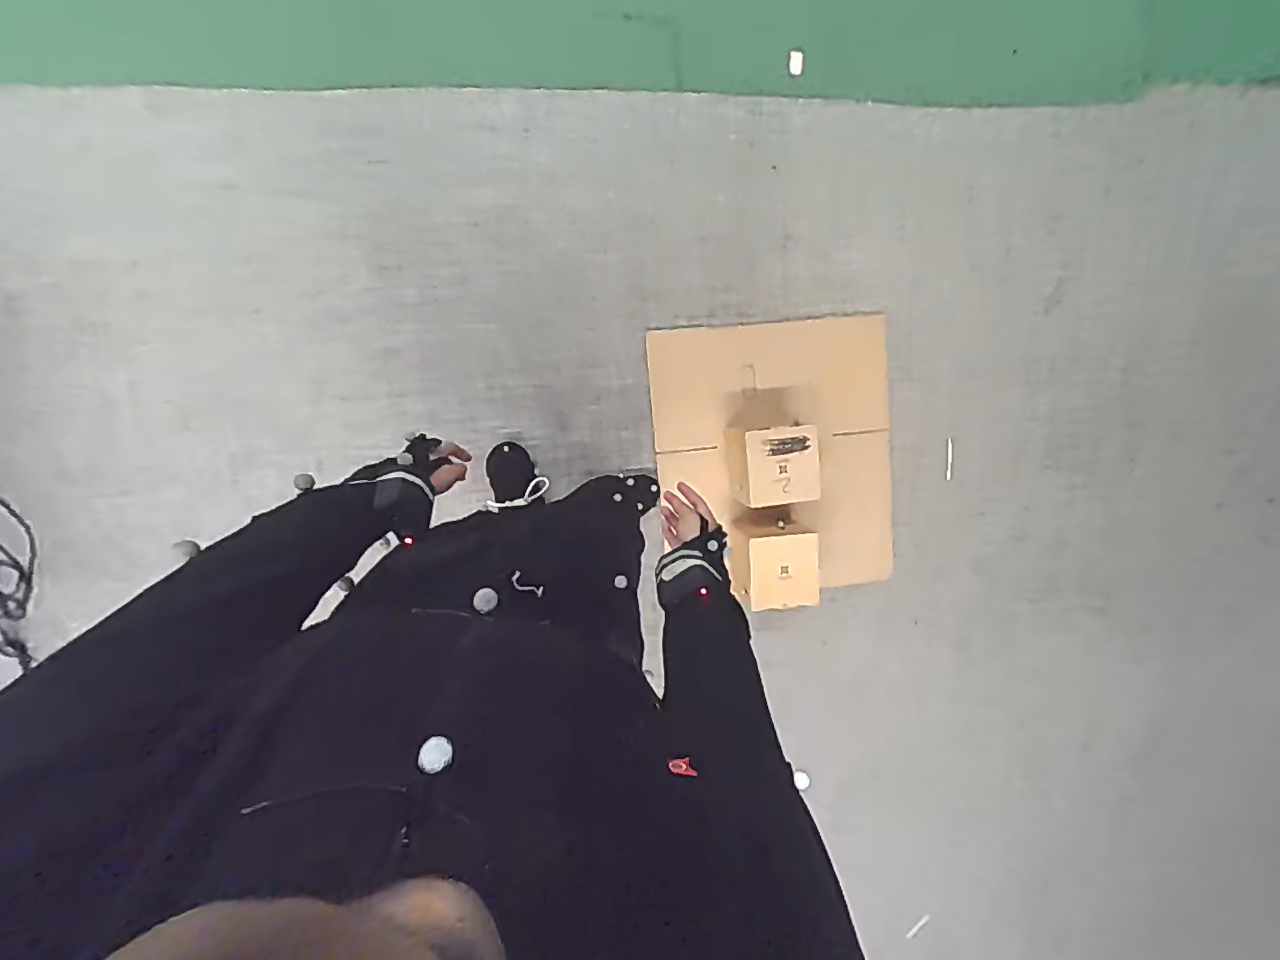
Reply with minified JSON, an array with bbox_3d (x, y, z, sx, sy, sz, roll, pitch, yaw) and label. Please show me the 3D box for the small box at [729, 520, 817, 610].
[{"bbox_3d":[0.317,0.196,1.312,0.168,0.176,0.179,-4,99,-6],"label":"small box"}]
